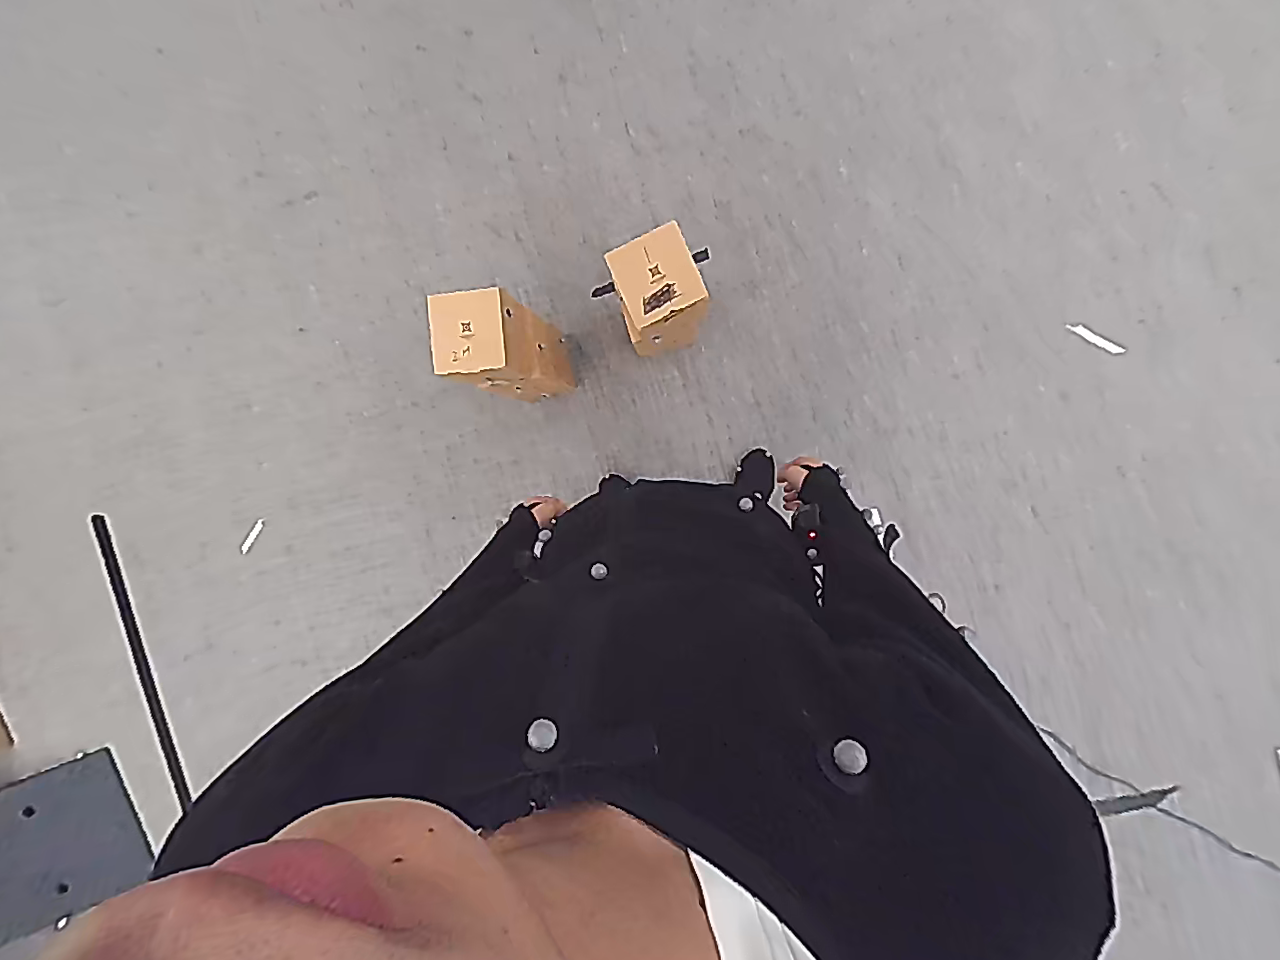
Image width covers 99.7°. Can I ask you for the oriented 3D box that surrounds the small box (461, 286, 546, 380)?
[{"bbox_3d":[-0.345,-0.355,1.333,0.168,0.176,0.179,-10,94,7],"label":"small box"}]

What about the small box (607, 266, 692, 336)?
[{"bbox_3d":[0.022,-0.464,1.289,0.168,0.176,0.179,-17,92,6],"label":"small box"}]

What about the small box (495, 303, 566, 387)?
[{"bbox_3d":[-0.318,-0.365,1.491,0.168,0.176,0.179,-13,93,8],"label":"small box"}]

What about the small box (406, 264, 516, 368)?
[{"bbox_3d":[-0.380,-0.347,1.171,0.168,0.176,0.179,-4,94,7],"label":"small box"}]

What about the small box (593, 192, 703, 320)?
[{"bbox_3d":[0.022,-0.449,1.124,0.168,0.176,0.179,-24,92,6],"label":"small box"}]
